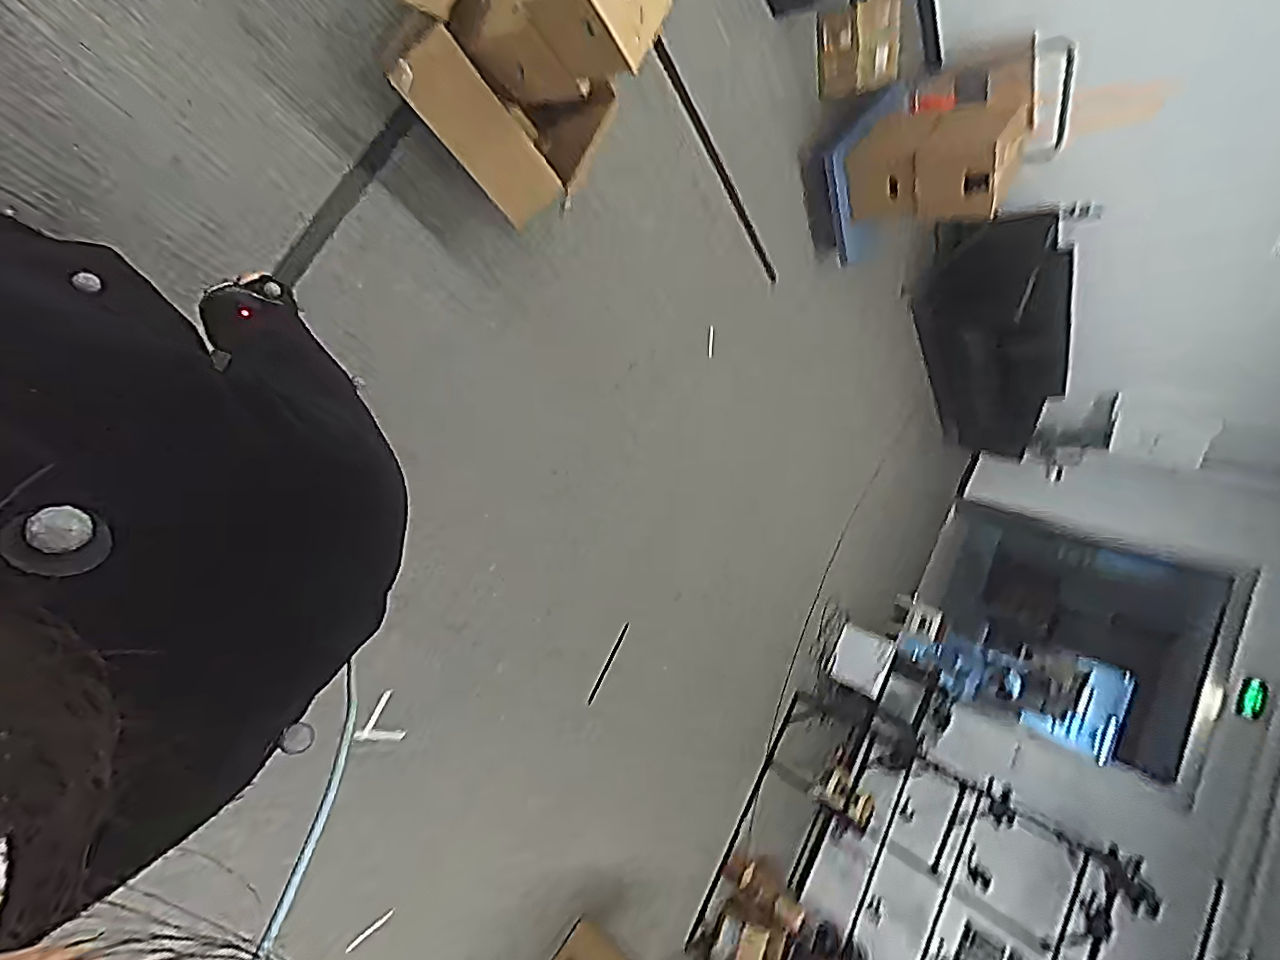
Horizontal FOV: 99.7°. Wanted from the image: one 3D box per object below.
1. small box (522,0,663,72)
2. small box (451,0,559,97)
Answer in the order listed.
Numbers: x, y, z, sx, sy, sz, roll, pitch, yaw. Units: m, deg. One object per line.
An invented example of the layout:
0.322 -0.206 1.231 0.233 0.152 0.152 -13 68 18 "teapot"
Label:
-0.088 -0.893 0.989 0.179 0.176 0.168 28 87 -52 "small box"
-0.299 -1.003 1.219 0.179 0.176 0.168 6 103 -51 "small box"
